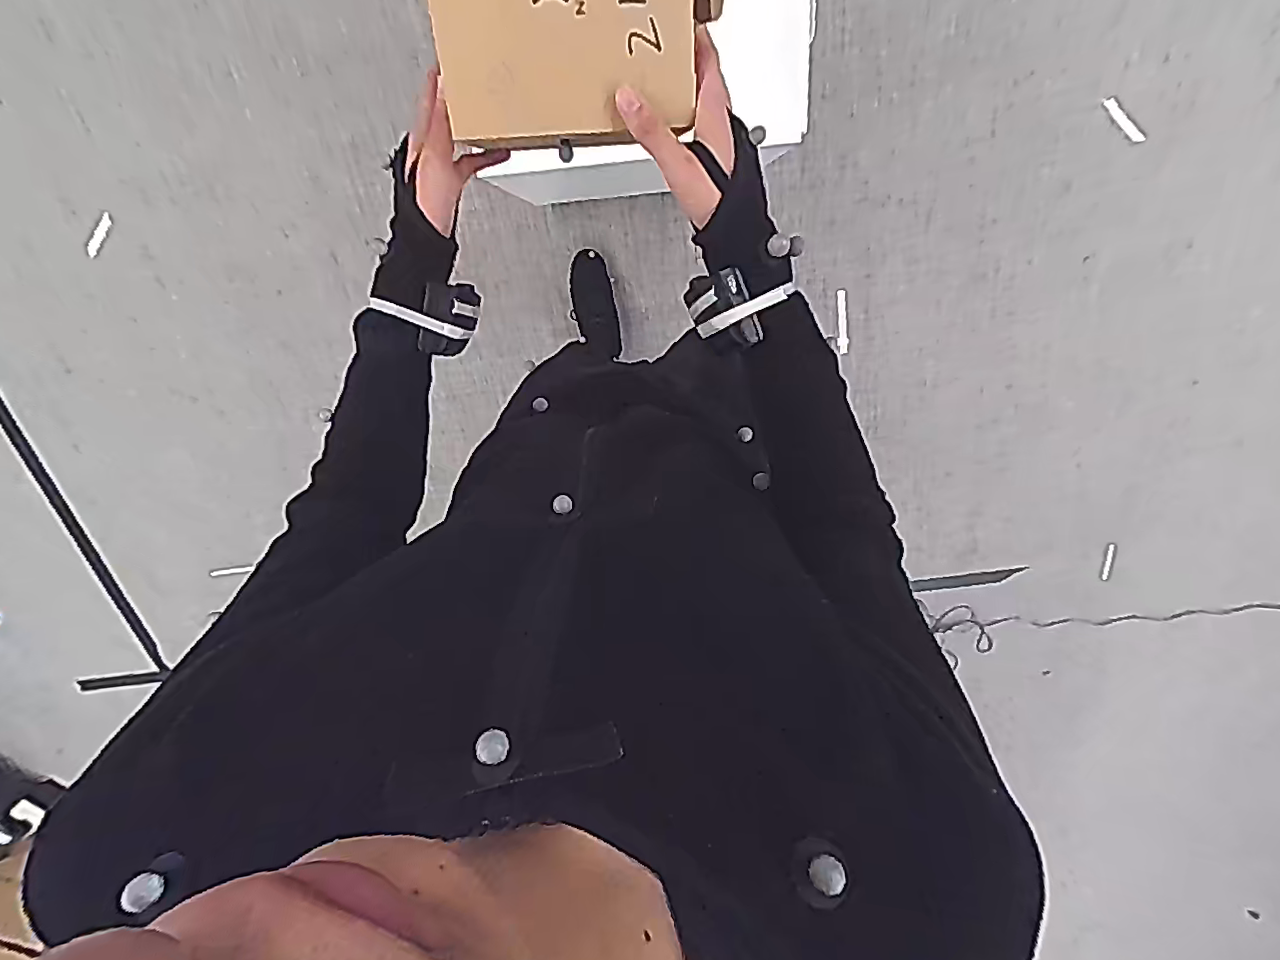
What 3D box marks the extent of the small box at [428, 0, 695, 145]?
[{"bbox_3d":[-0.056,-0.360,0.414,0.179,0.176,0.168,-4,120,-2],"label":"small box"}]
